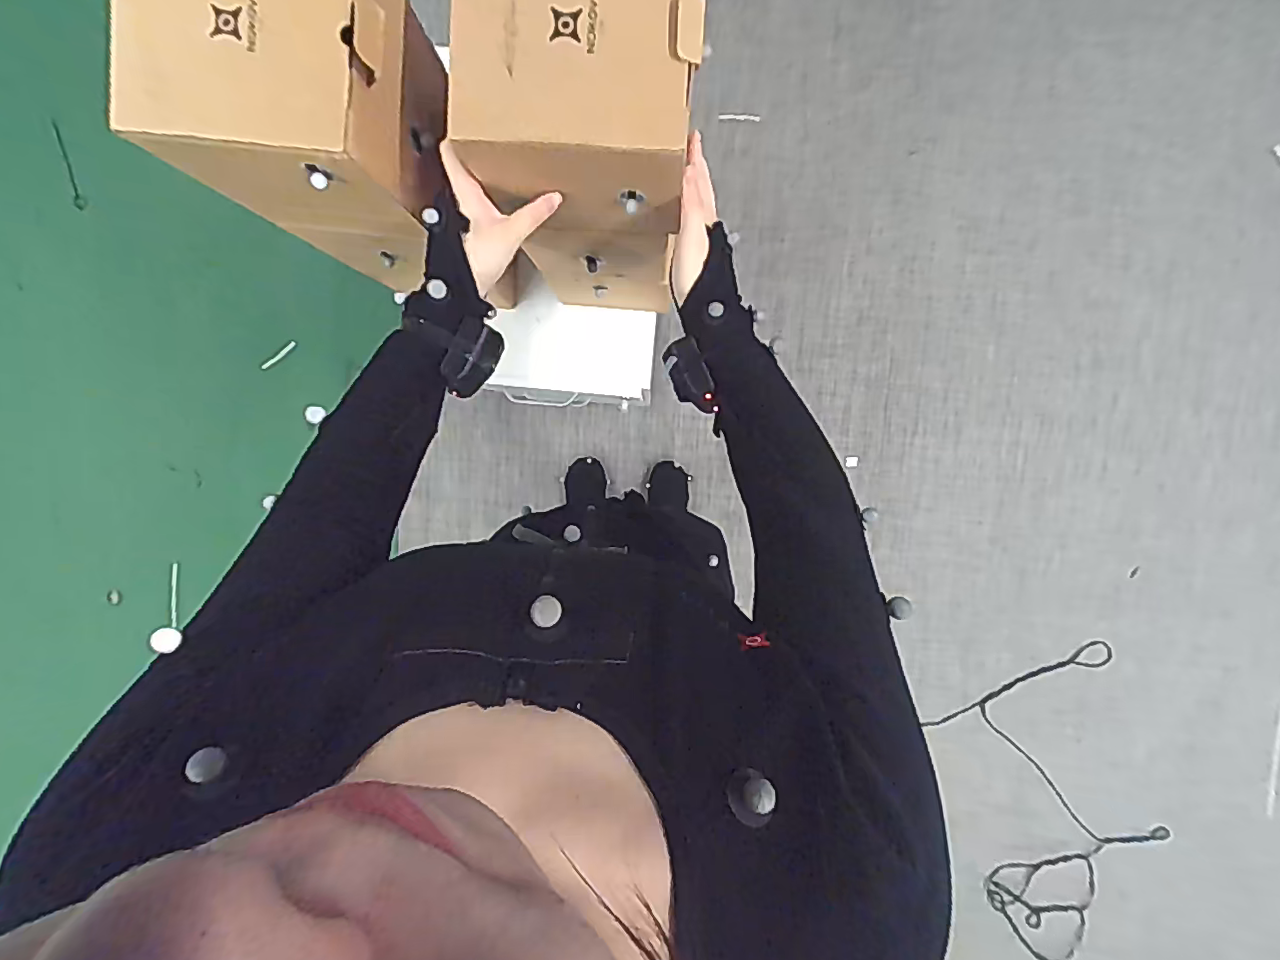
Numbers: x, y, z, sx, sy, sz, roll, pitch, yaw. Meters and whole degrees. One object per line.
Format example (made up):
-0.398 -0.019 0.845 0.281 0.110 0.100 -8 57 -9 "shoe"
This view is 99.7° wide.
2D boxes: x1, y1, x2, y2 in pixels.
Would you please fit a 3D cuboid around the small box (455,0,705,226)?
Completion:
-0.041 -0.335 0.467 0.179 0.176 0.168 5 96 2 "small box"

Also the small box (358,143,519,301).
-0.284 -0.371 0.796 0.179 0.176 0.168 6 96 -2 "small box"

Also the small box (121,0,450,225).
-0.285 -0.340 0.470 0.179 0.176 0.168 5 95 -1 "small box"

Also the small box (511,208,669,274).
-0.046 -0.350 0.629 0.168 0.176 0.179 3 95 0 "small box"

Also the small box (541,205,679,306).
-0.036 -0.362 0.793 0.179 0.176 0.168 6 96 1 "small box"
